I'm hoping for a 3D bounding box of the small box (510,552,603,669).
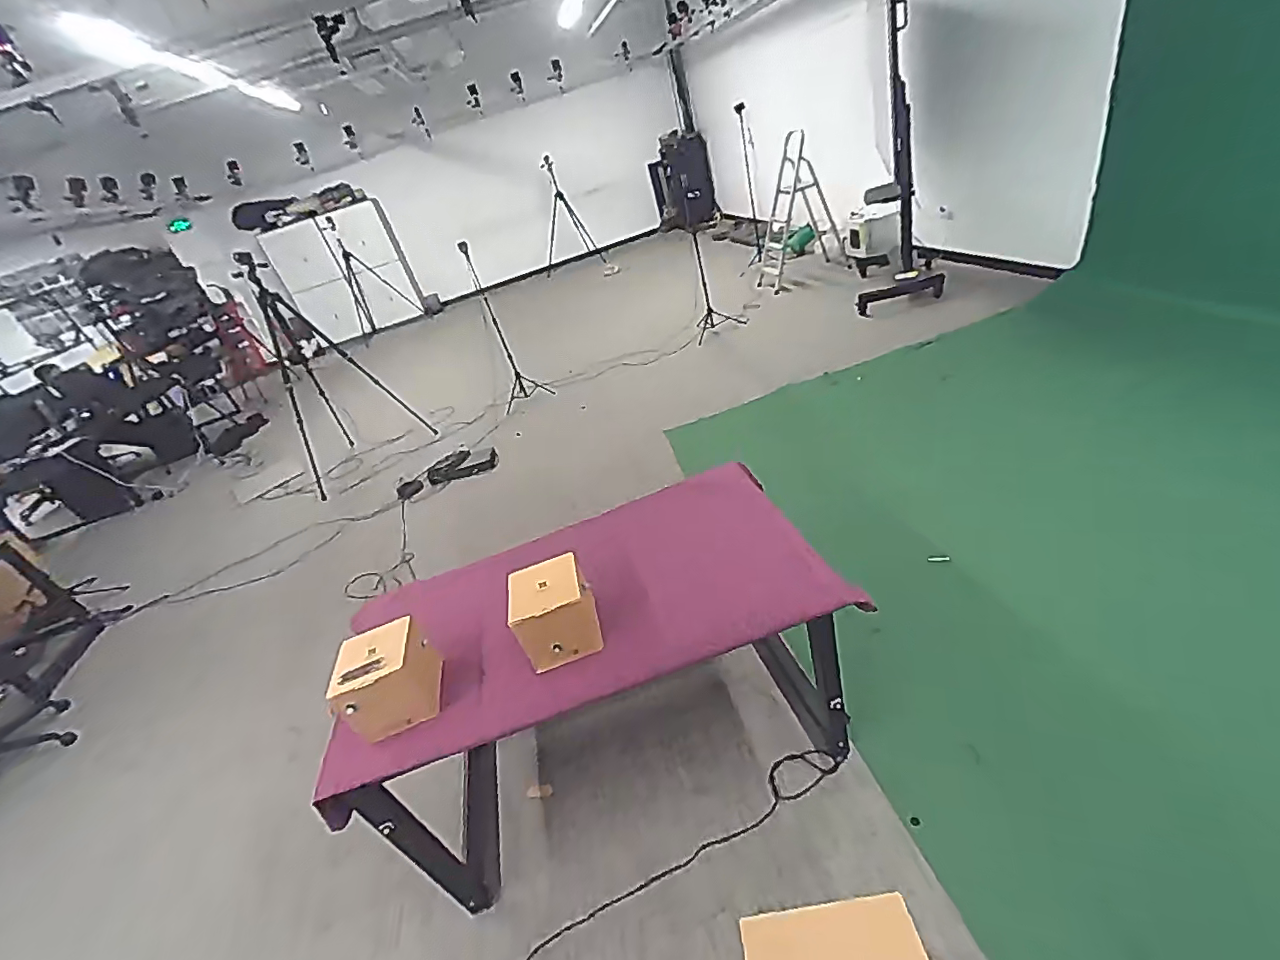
[{"bbox_3d":[-0.197,0.305,1.266,0.168,0.176,0.179,-19,32,-3],"label":"small box"}]

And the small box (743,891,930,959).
[{"bbox_3d":[0.202,0.532,0.497,0.168,0.176,0.179,-14,22,6],"label":"small box"}]
